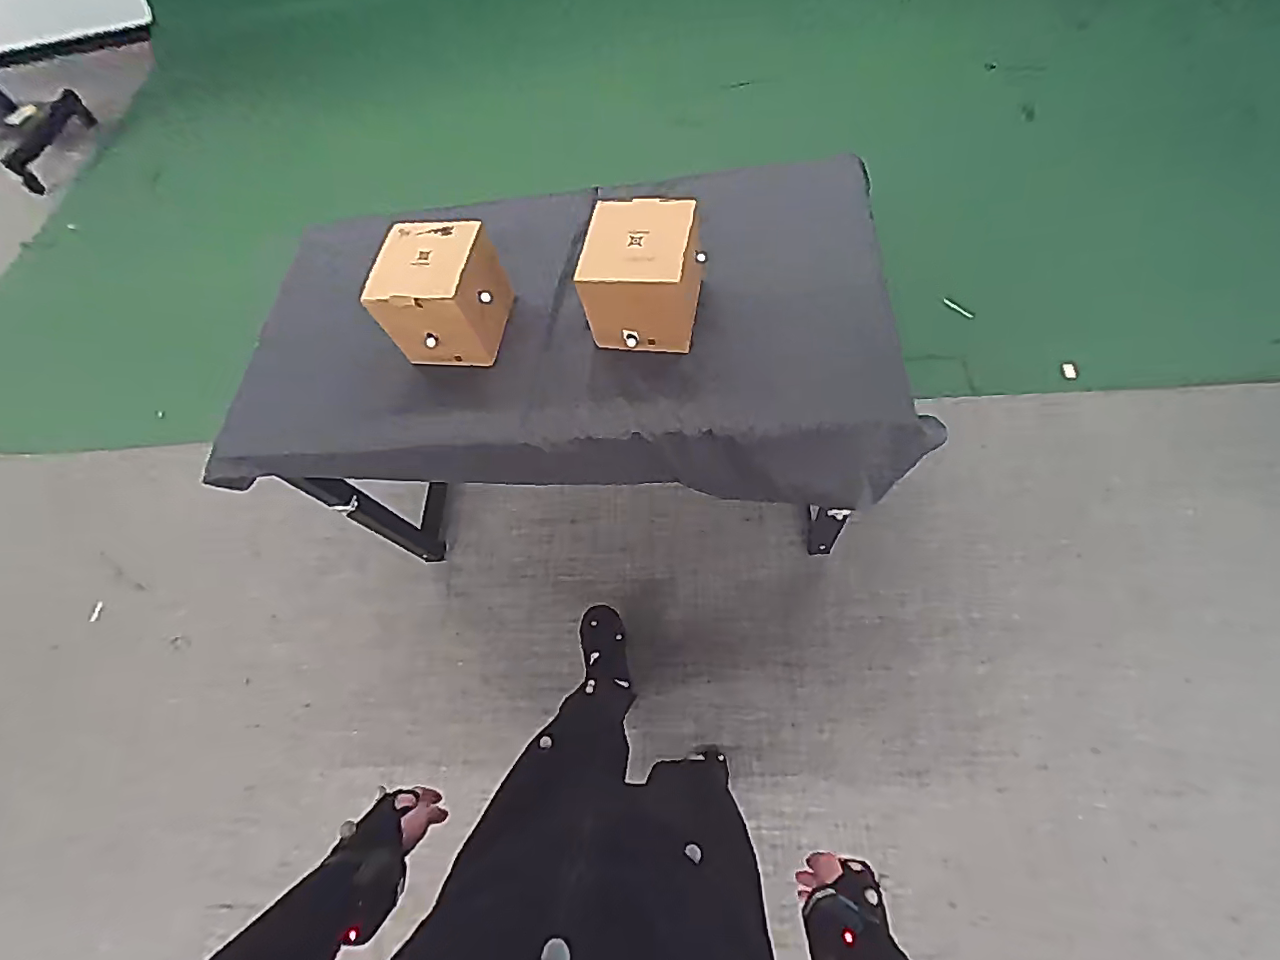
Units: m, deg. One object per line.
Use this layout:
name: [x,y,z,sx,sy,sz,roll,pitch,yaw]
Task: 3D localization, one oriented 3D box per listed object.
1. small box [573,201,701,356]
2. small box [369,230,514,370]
small box: [0.006,-0.333,0.899,0.168,0.176,0.179,7,66,15]
small box: [-0.341,-0.310,0.966,0.168,0.176,0.179,0,64,11]
